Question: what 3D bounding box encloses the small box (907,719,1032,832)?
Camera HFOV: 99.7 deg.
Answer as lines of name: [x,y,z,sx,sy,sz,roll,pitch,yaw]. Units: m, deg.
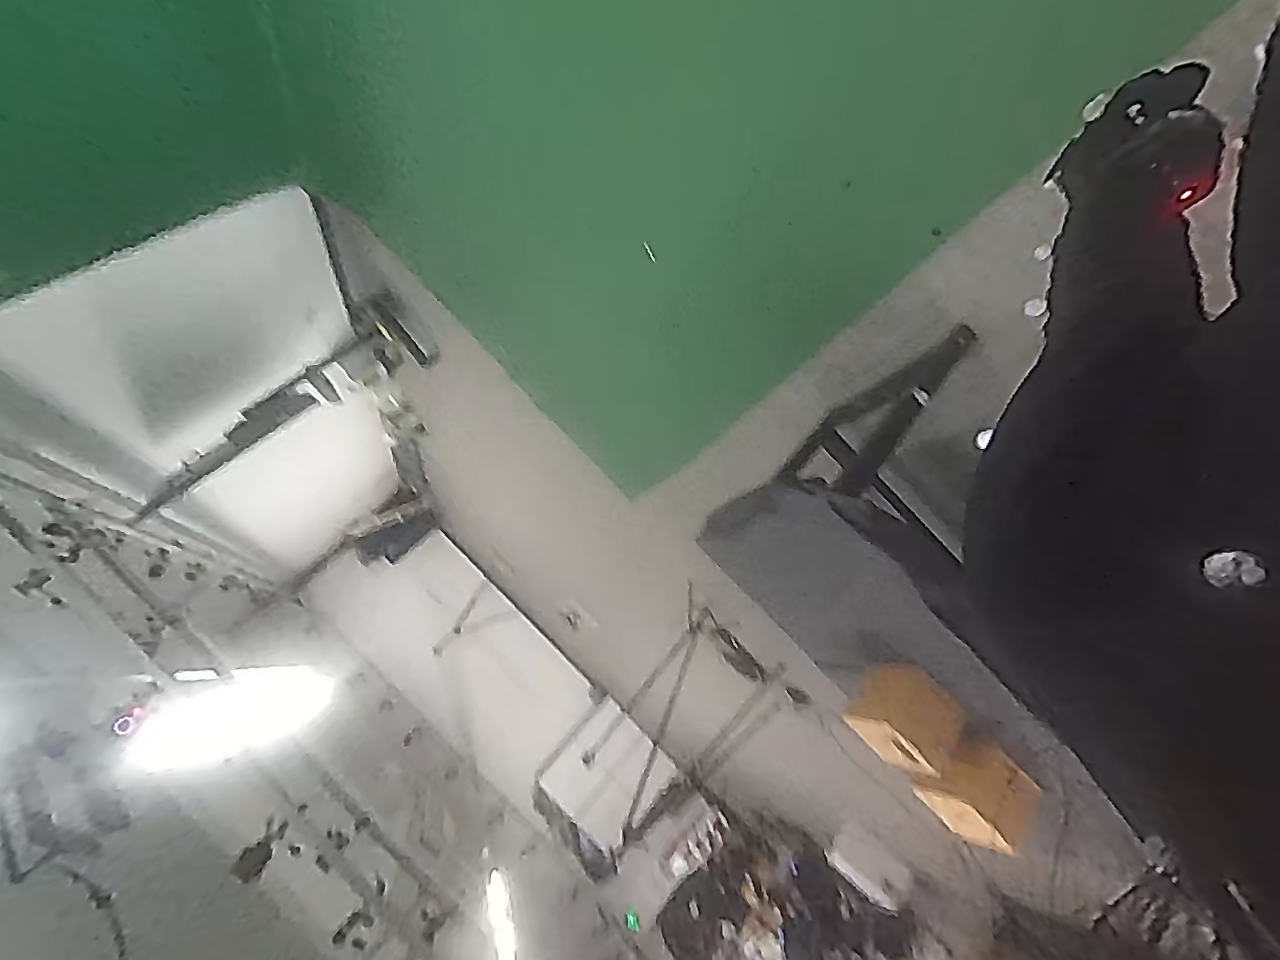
small box: [0.819,0.721,1.345,0.168,0.176,0.179,45,155,1]
